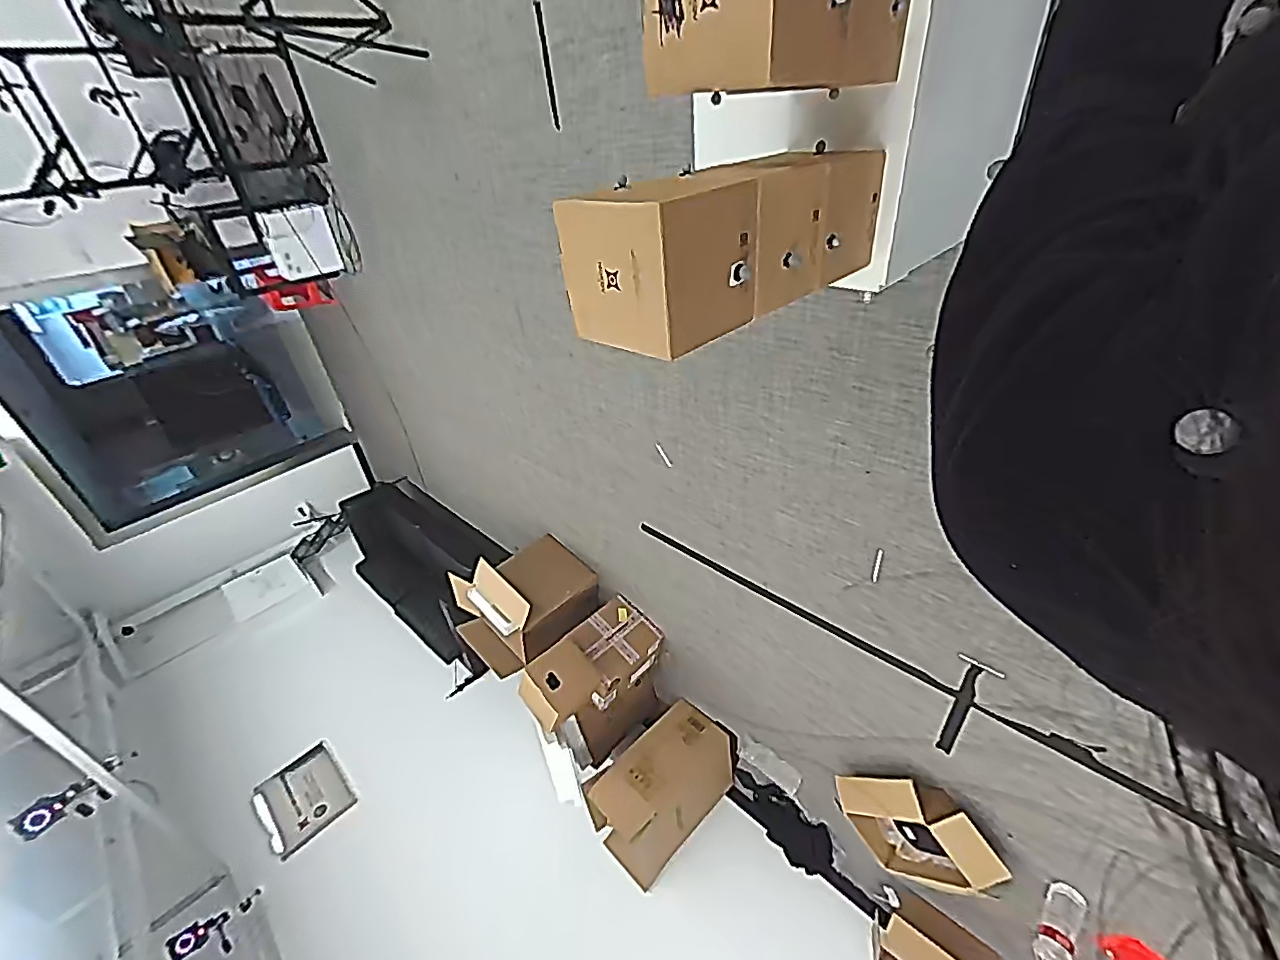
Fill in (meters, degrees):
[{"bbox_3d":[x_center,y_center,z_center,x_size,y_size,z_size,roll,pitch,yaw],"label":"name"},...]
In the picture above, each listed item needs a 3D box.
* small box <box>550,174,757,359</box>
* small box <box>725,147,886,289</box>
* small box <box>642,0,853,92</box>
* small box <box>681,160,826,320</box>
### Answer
[{"bbox_3d":[0.020,-0.266,0.658,0.179,0.176,0.168,24,135,38],"label":"small box"},{"bbox_3d":[0.248,-0.411,0.839,0.179,0.176,0.168,27,137,38],"label":"small box"},{"bbox_3d":[0.119,-0.538,0.602,0.179,0.176,0.168,26,137,36],"label":"small box"},{"bbox_3d":[0.135,-0.338,0.748,0.179,0.176,0.168,26,135,39],"label":"small box"}]
